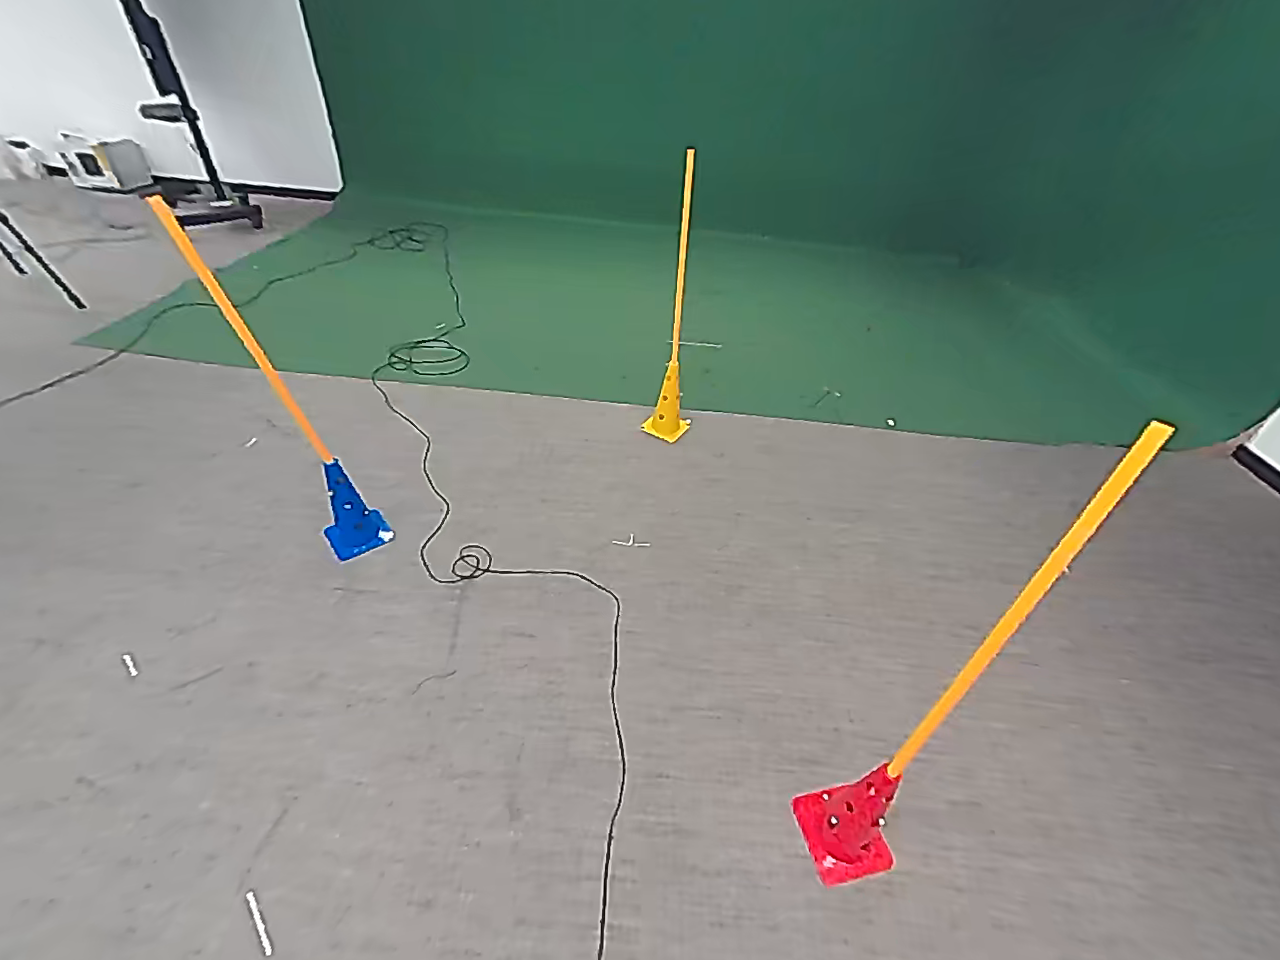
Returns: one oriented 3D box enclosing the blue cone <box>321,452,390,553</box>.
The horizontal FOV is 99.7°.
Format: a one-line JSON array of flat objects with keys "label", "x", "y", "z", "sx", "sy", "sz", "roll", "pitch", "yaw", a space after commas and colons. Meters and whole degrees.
[{"label": "blue cone", "x": -1.033, "y": 0.063, "z": 1.891, "sx": 0.193, "sy": 0.380, "sz": 0.192, "roll": -29, "pitch": 52, "yaw": -31}]
